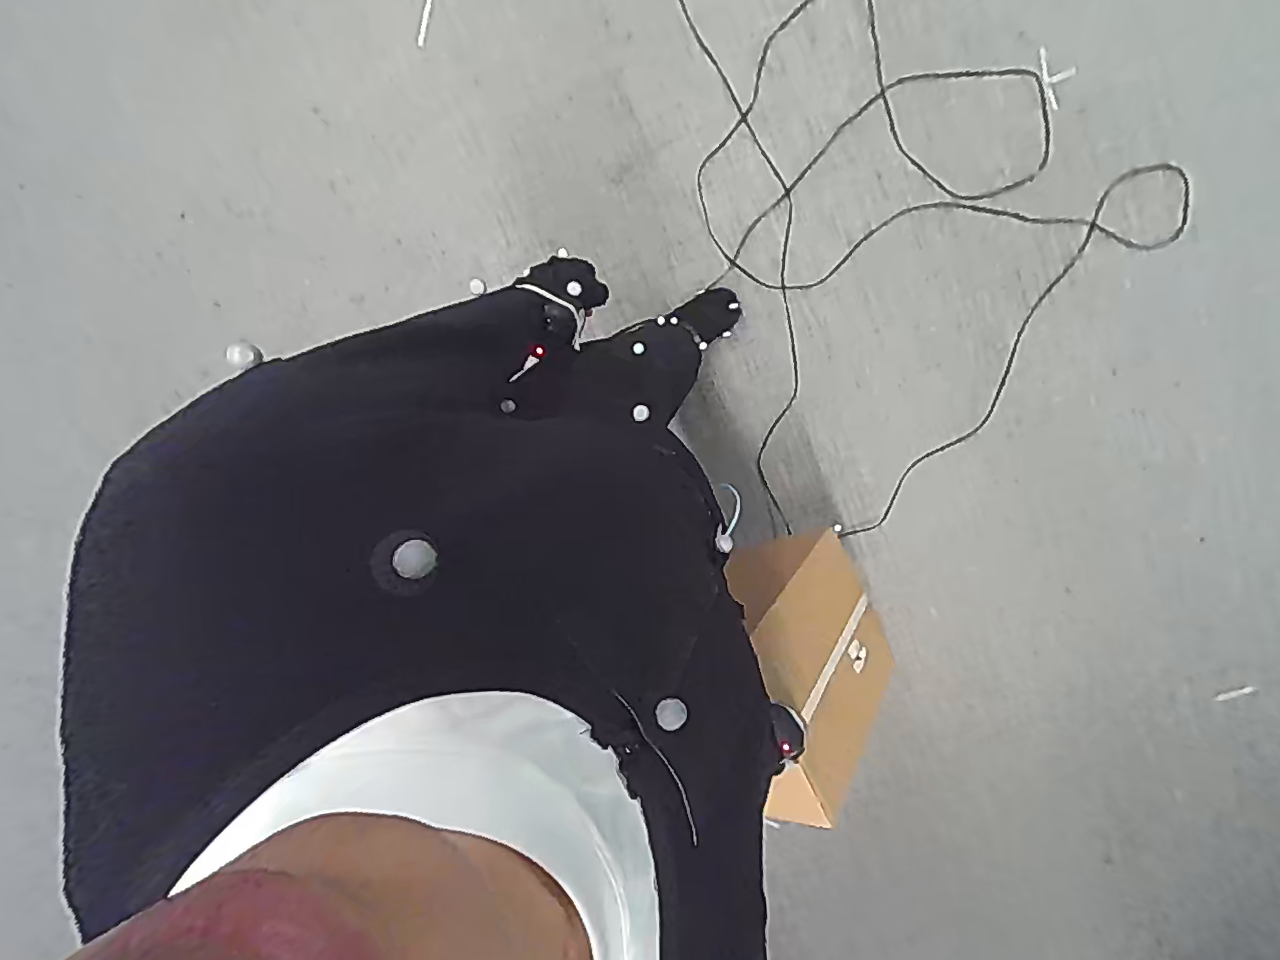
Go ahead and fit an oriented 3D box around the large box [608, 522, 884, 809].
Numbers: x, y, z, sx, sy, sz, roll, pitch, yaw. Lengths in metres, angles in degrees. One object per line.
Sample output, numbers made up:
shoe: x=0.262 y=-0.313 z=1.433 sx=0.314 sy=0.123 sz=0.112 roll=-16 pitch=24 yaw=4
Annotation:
large box: x=0.215 y=0.332 z=1.037 sx=0.320 sy=0.408 sz=0.320 roll=-21 pitch=98 yaw=41
